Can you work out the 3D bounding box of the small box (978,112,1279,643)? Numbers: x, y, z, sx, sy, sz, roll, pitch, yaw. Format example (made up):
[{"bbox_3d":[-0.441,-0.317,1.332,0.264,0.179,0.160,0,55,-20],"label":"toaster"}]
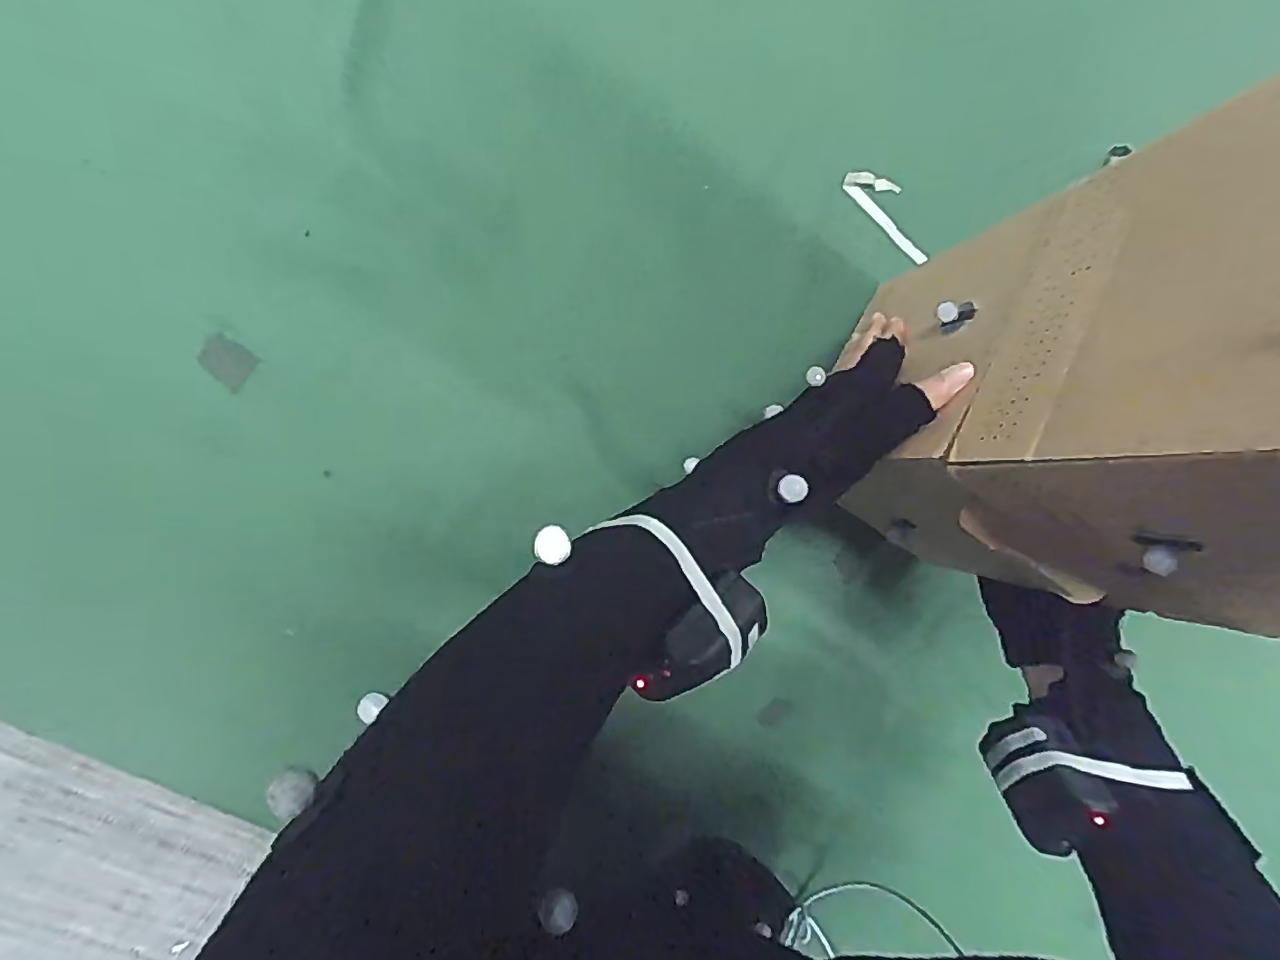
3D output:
[{"bbox_3d":[0.280,-0.038,0.211,0.168,0.176,0.179,30,83,-12],"label":"small box"}]

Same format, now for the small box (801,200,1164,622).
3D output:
[{"bbox_3d":[0.243,-0.036,0.370,0.168,0.176,0.179,32,83,-11],"label":"small box"}]
